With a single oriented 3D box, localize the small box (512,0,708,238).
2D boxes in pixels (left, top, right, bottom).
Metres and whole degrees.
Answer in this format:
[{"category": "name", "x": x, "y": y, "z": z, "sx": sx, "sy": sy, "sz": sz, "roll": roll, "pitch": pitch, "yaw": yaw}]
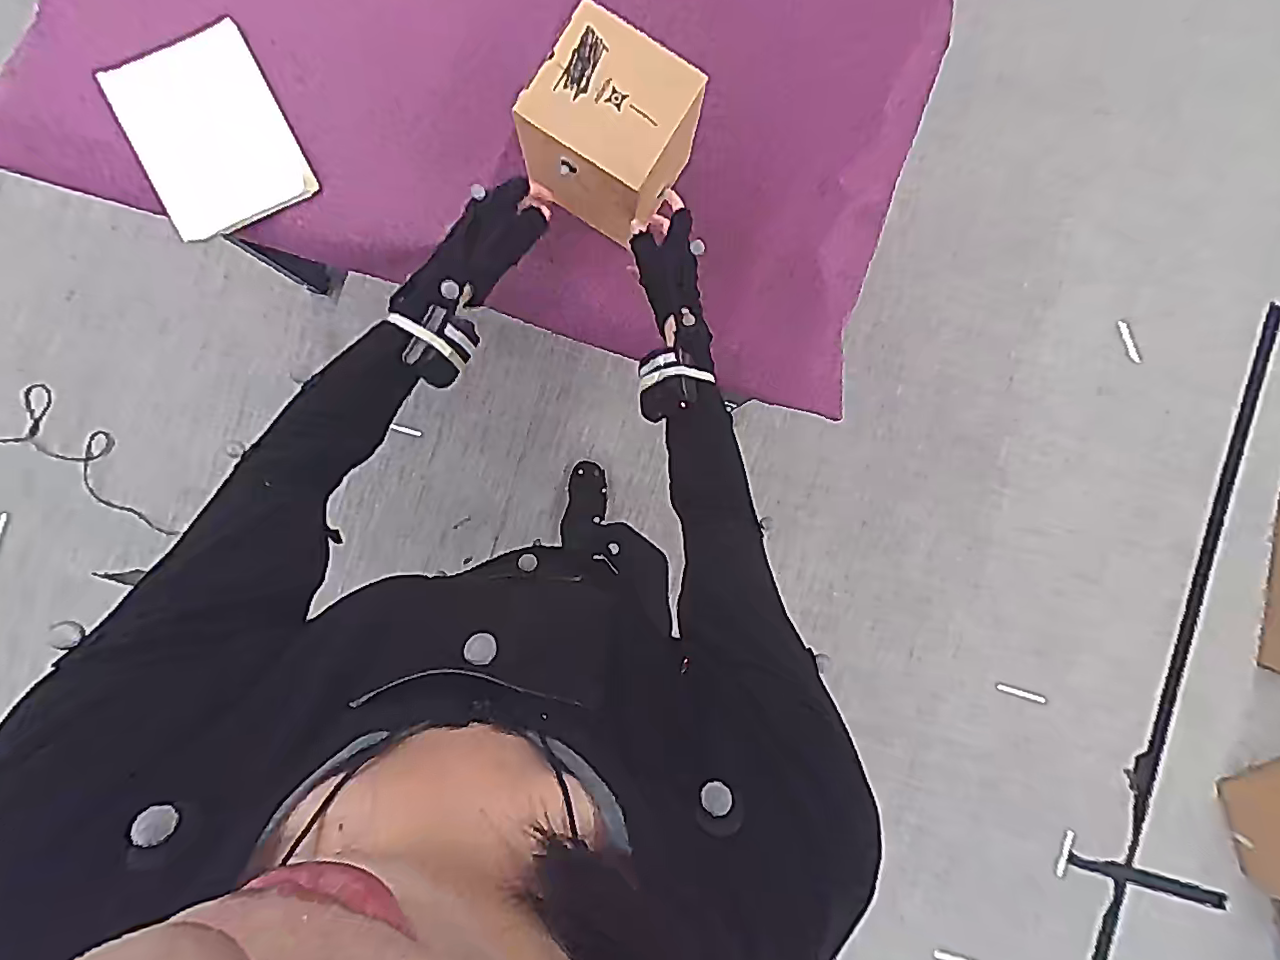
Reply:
[{"category": "small box", "x": -0.039, "y": -0.456, "z": 0.709, "sx": 0.179, "sy": 0.176, "sz": 0.168, "roll": 32, "pitch": 88, "yaw": -3}]
